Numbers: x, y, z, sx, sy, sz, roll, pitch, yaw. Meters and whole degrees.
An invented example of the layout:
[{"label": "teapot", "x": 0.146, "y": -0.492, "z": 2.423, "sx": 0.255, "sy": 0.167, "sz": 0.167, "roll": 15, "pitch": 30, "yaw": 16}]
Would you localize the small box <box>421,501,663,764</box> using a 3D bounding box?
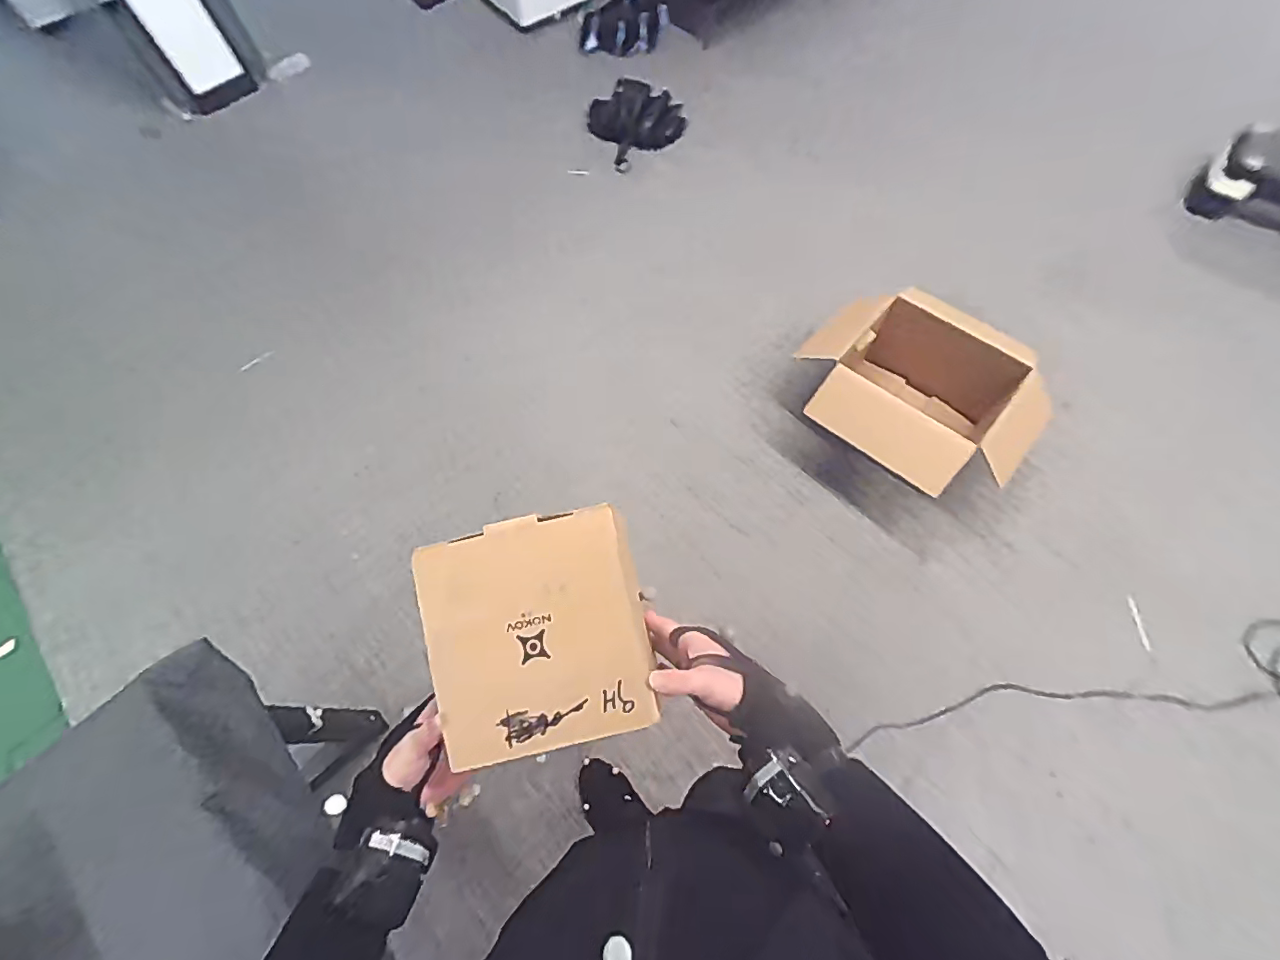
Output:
[{"label": "small box", "x": -0.077, "y": 0.126, "z": 0.500, "sx": 0.168, "sy": 0.176, "sz": 0.179, "roll": -12, "pitch": 83, "yaw": 1}]
